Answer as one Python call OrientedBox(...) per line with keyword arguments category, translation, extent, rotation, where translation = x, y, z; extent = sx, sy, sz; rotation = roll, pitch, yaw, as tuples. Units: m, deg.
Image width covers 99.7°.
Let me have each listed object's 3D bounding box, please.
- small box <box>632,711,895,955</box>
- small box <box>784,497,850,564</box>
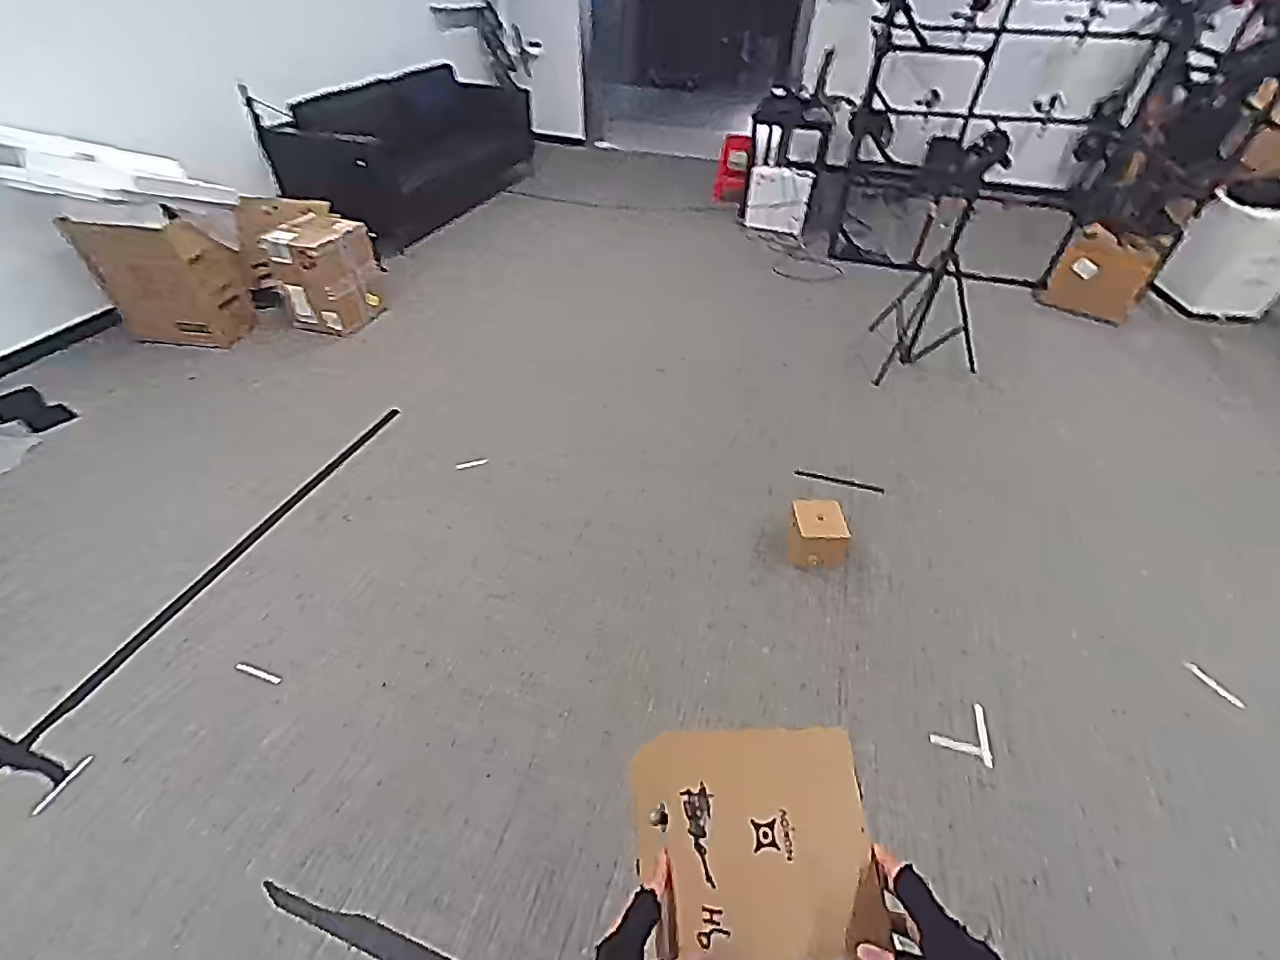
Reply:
OrientedBox(category="small box", translation=(0.095, 0.322, 0.509), extent=(0.179, 0.176, 0.168), rotation=(5, 56, -11))
OrientedBox(category="small box", translation=(0.620, 0.179, 1.921), extent=(0.168, 0.176, 0.179), rotation=(-1, 44, 0))
